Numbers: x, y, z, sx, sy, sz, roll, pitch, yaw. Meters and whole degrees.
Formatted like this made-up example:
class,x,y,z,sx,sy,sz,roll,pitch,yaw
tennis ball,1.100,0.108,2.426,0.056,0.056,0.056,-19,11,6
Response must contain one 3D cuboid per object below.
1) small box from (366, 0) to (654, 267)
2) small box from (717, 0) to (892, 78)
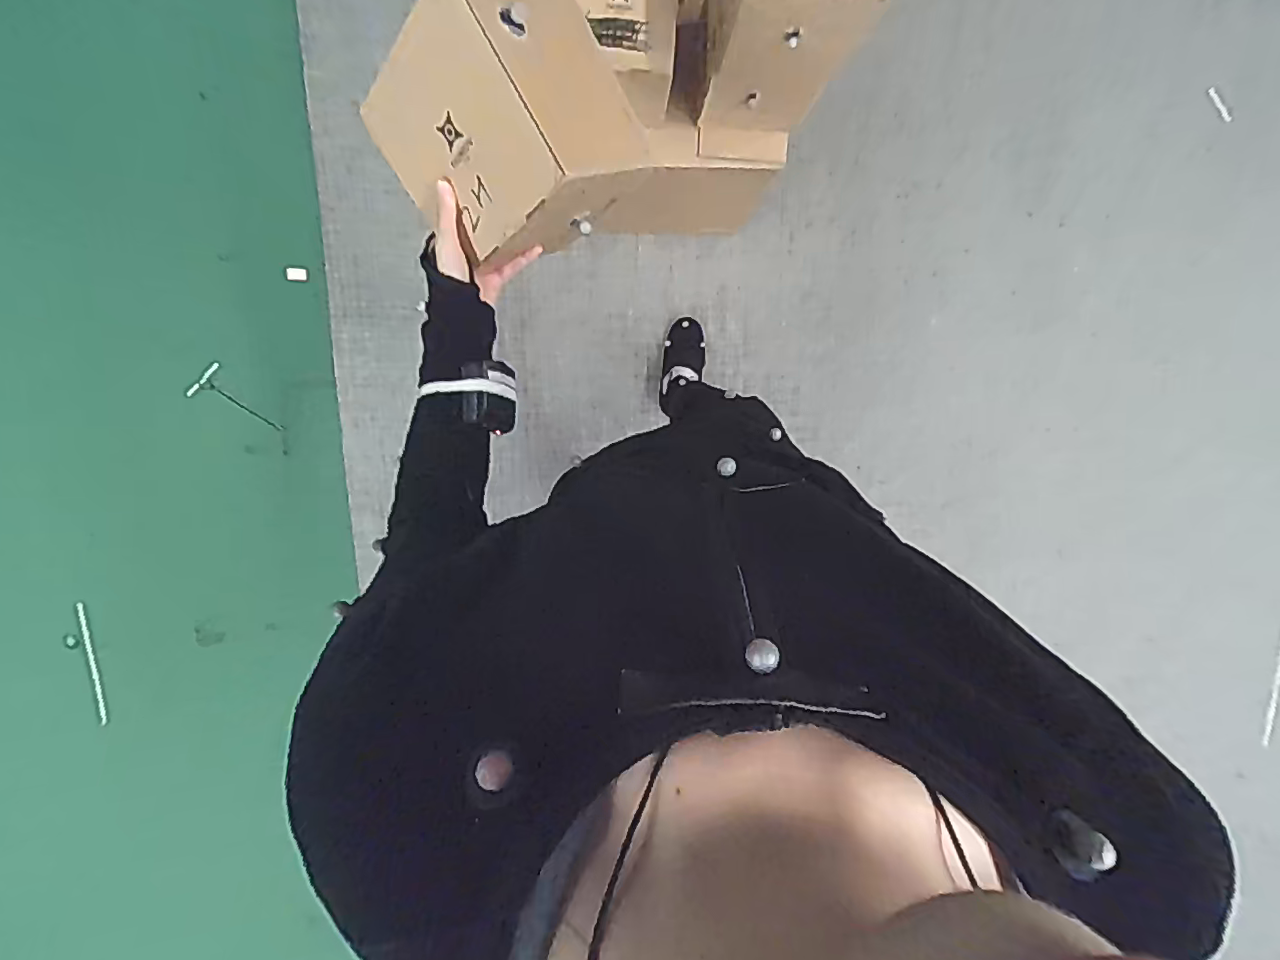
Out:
class,x,y,z,sx,sy,sz,roll,pitch,yaw
small box,-0.118,-0.341,0.531,0.168,0.176,0.179,-19,108,42
small box,0.201,-0.638,0.675,0.179,0.176,0.168,1,101,-1
